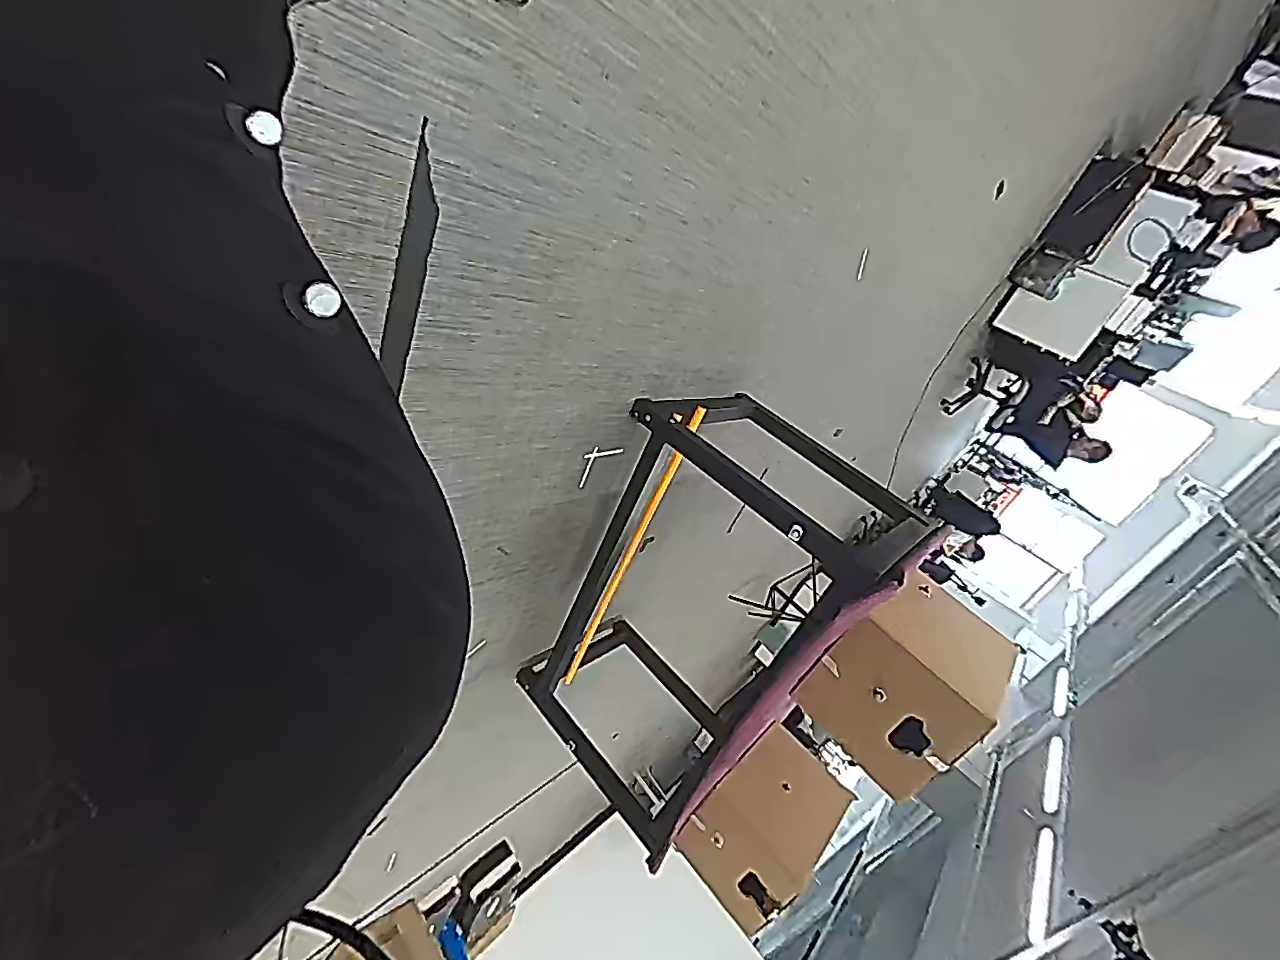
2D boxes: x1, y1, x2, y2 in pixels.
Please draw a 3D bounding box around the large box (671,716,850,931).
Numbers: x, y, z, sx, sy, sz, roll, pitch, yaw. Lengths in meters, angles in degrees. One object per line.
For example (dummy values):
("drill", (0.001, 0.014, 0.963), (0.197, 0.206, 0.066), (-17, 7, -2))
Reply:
("large box", (0.364, 1.013, 1.643), (0.408, 0.320, 0.320), (-14, 137, -51))
